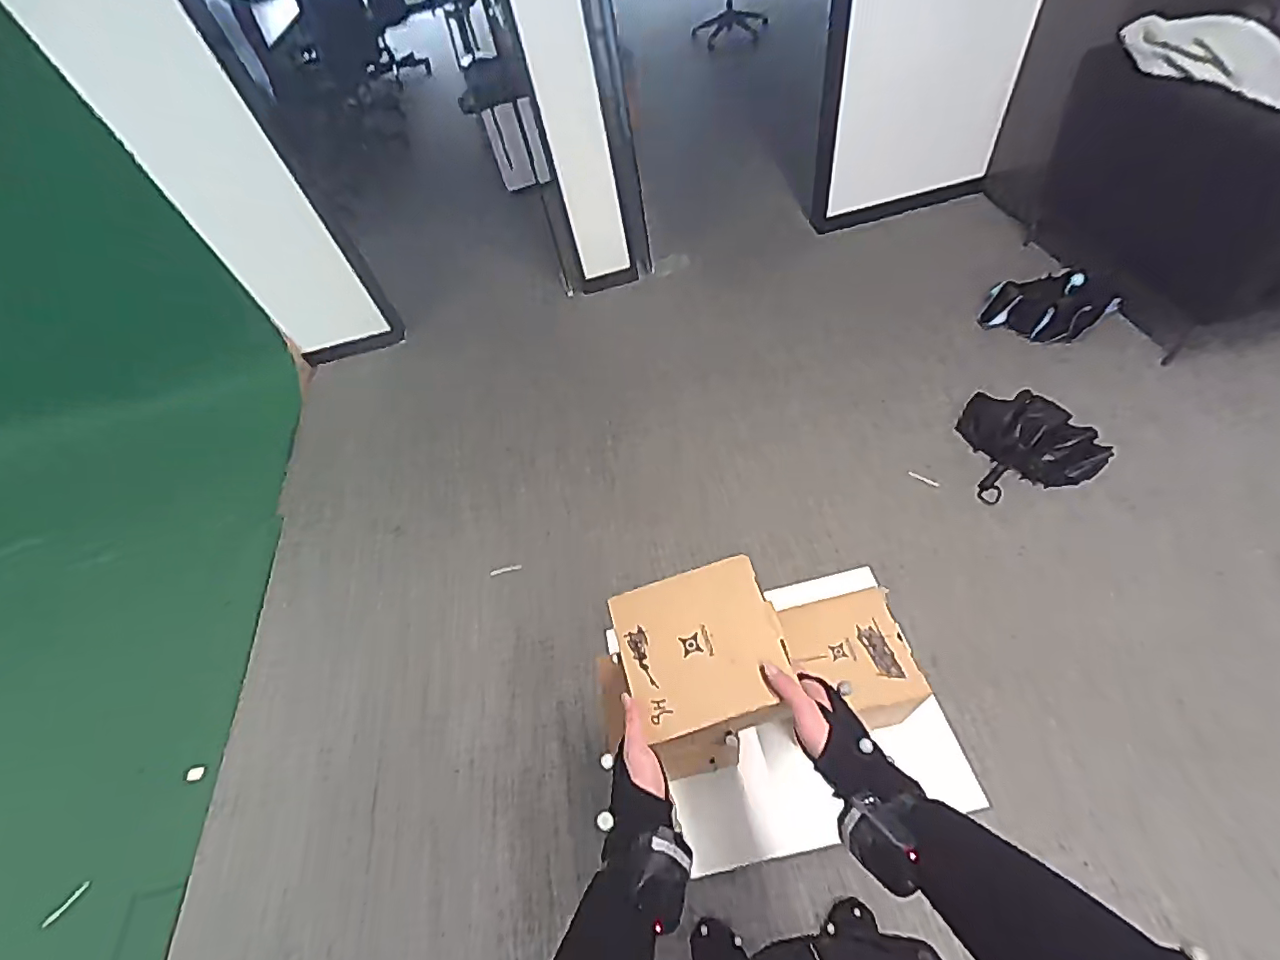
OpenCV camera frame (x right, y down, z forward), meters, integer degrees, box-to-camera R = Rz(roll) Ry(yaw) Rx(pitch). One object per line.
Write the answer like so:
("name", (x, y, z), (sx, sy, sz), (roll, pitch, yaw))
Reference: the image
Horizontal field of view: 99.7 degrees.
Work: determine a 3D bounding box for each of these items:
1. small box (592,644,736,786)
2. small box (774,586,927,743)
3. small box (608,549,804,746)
("small box", (0.036, 0.346, 0.823), (0.179, 0.176, 0.168), (-14, 51, -2))
("small box", (0.295, 0.286, 0.828), (0.179, 0.176, 0.168), (-13, 53, 0))
("small box", (0.073, 0.207, 0.650), (0.179, 0.176, 0.168), (-16, 59, -2))
